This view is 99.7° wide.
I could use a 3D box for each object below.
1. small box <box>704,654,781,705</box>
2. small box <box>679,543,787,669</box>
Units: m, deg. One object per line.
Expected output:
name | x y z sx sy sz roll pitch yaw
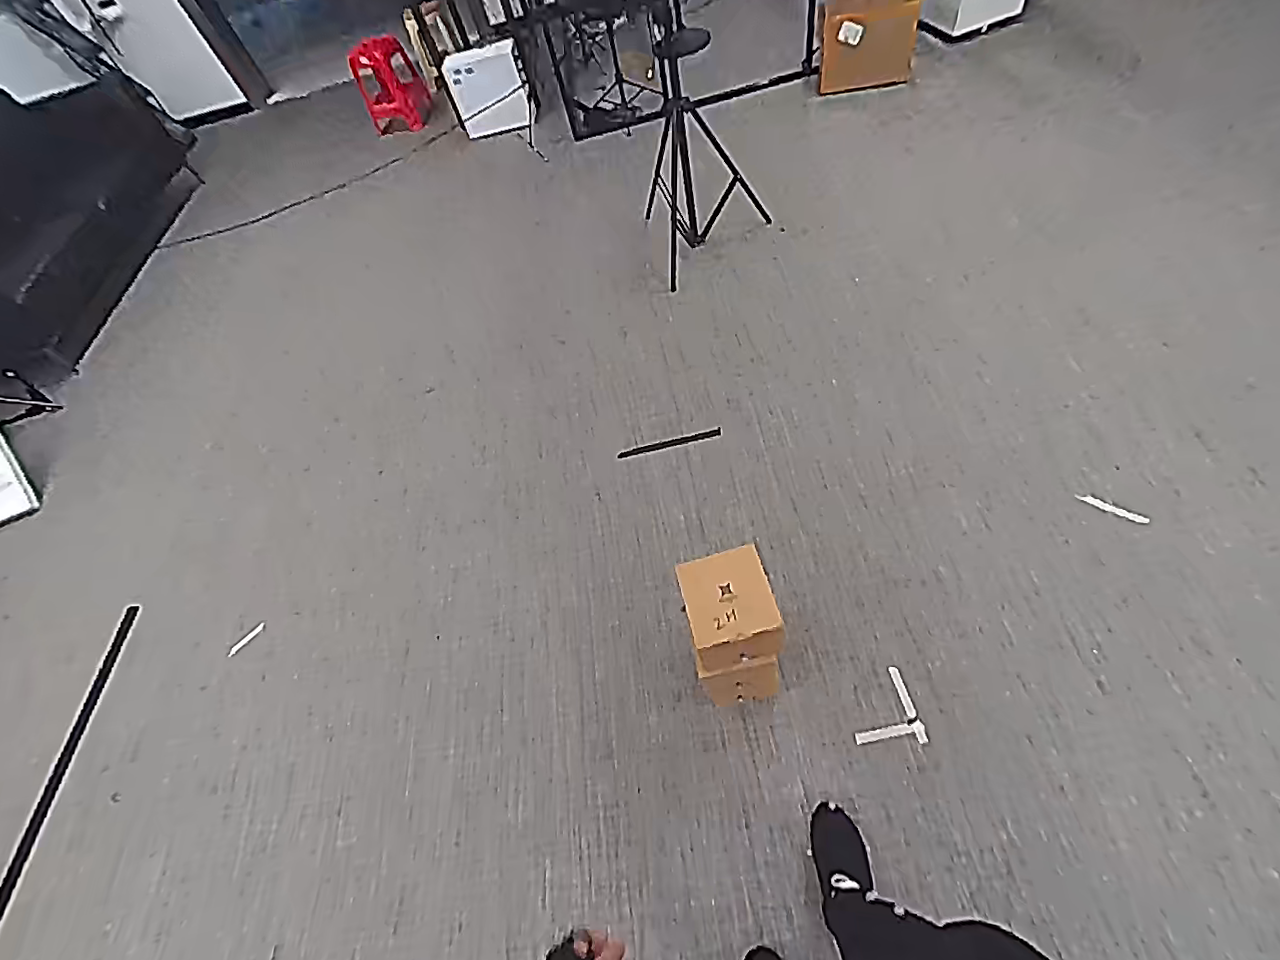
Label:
small box | 0.245 0.443 1.351 0.168 0.176 0.179 -13 55 4
small box | 0.184 0.256 1.086 0.168 0.176 0.179 -17 56 3
